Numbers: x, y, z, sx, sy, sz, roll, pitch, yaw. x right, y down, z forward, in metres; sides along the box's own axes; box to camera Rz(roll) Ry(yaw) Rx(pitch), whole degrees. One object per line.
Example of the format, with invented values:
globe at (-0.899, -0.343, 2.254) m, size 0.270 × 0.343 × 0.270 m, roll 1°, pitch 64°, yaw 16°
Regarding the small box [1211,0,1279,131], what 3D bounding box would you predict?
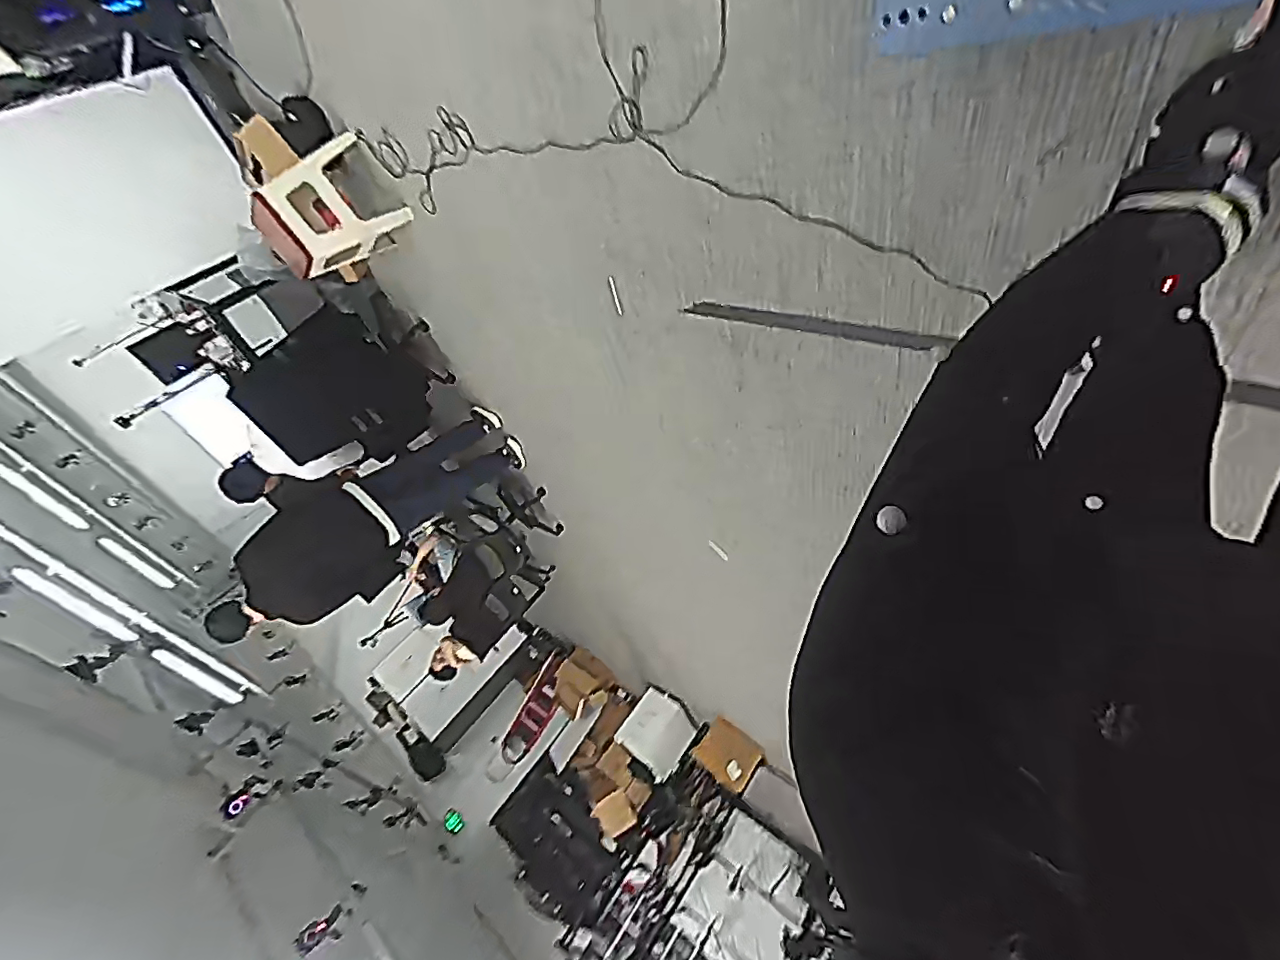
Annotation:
small box at (0.588, -0.377, 0.398) m, size 0.168 × 0.176 × 0.179 m, roll 22°, pitch 117°, yaw 25°
